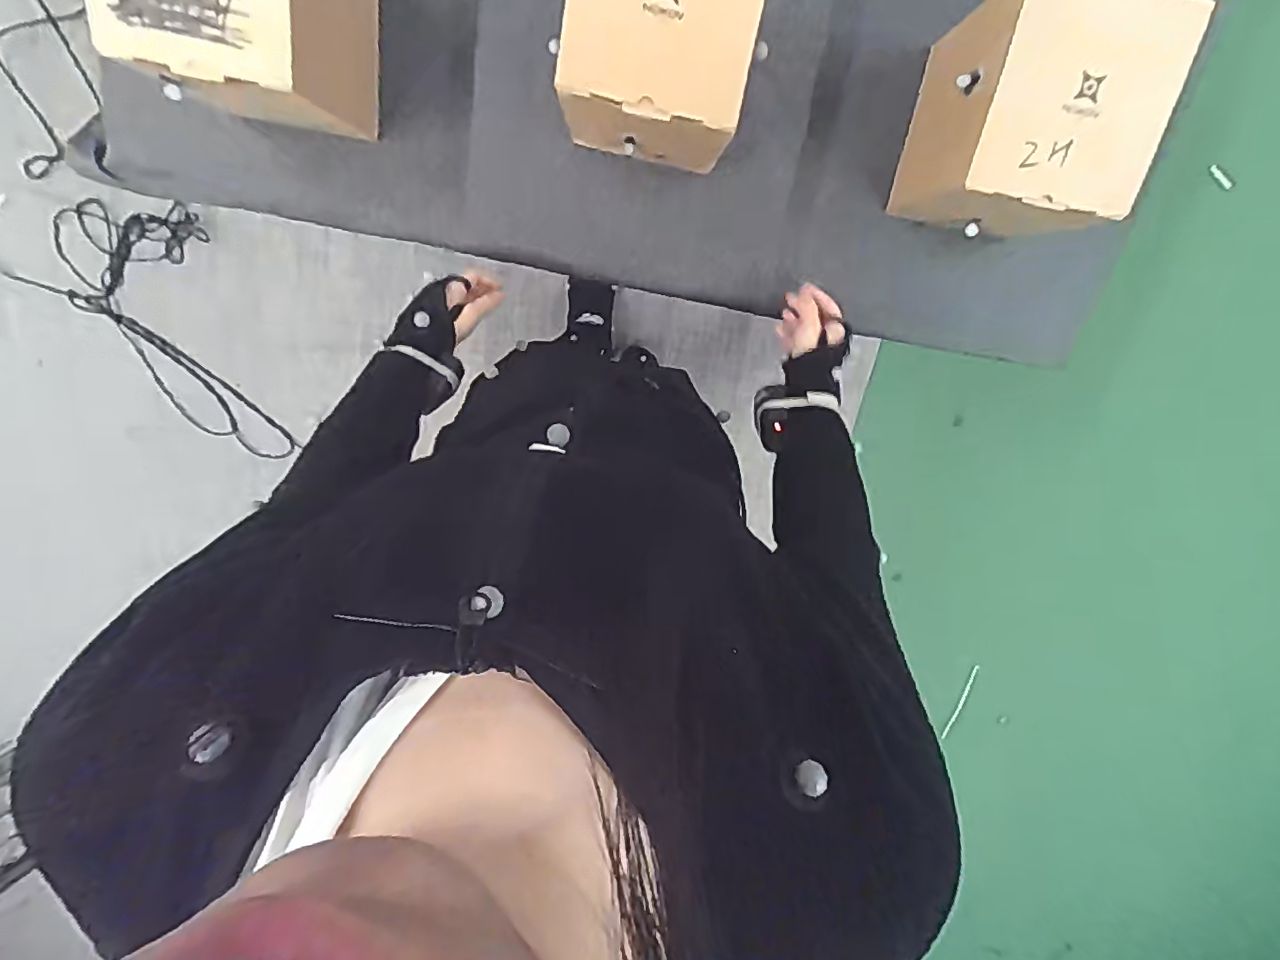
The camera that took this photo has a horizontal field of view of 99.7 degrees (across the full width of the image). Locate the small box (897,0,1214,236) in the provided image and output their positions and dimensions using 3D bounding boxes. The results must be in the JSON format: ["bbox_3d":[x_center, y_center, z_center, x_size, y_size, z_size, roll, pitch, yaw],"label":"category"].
[{"bbox_3d":[0.395,-0.365,0.556,0.168,0.176,0.179,9,109,-2],"label":"small box"}]

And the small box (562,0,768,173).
[{"bbox_3d":[0.024,-0.432,0.536,0.168,0.176,0.179,10,109,-4],"label":"small box"}]
